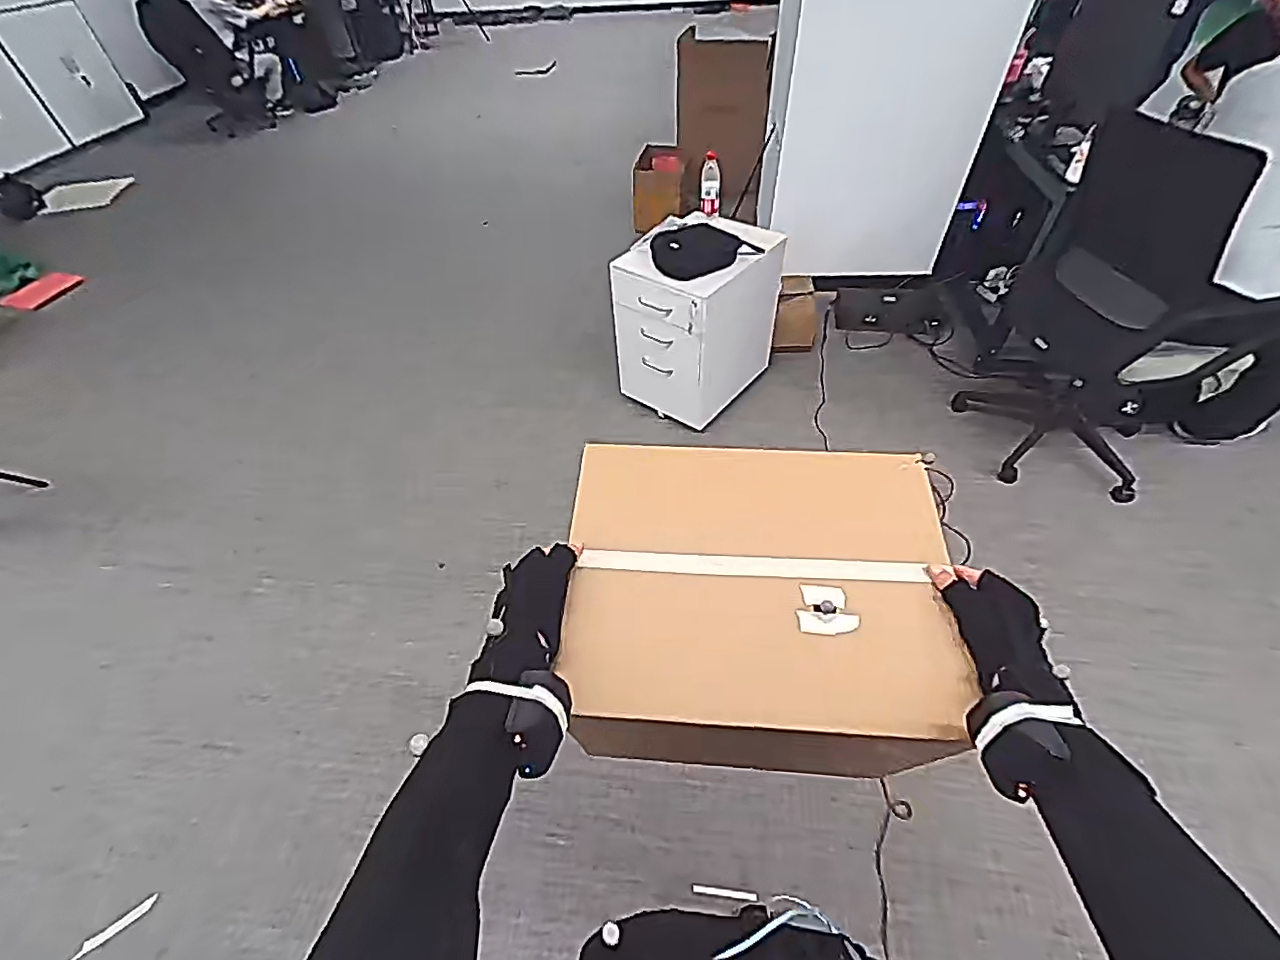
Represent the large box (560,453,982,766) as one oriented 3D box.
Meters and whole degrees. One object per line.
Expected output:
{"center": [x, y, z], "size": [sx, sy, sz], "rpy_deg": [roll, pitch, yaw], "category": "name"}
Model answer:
{"center": [0.130, 0.179, 0.712], "size": [0.408, 0.320, 0.320], "rpy_deg": [2, 57, 4], "category": "large box"}
